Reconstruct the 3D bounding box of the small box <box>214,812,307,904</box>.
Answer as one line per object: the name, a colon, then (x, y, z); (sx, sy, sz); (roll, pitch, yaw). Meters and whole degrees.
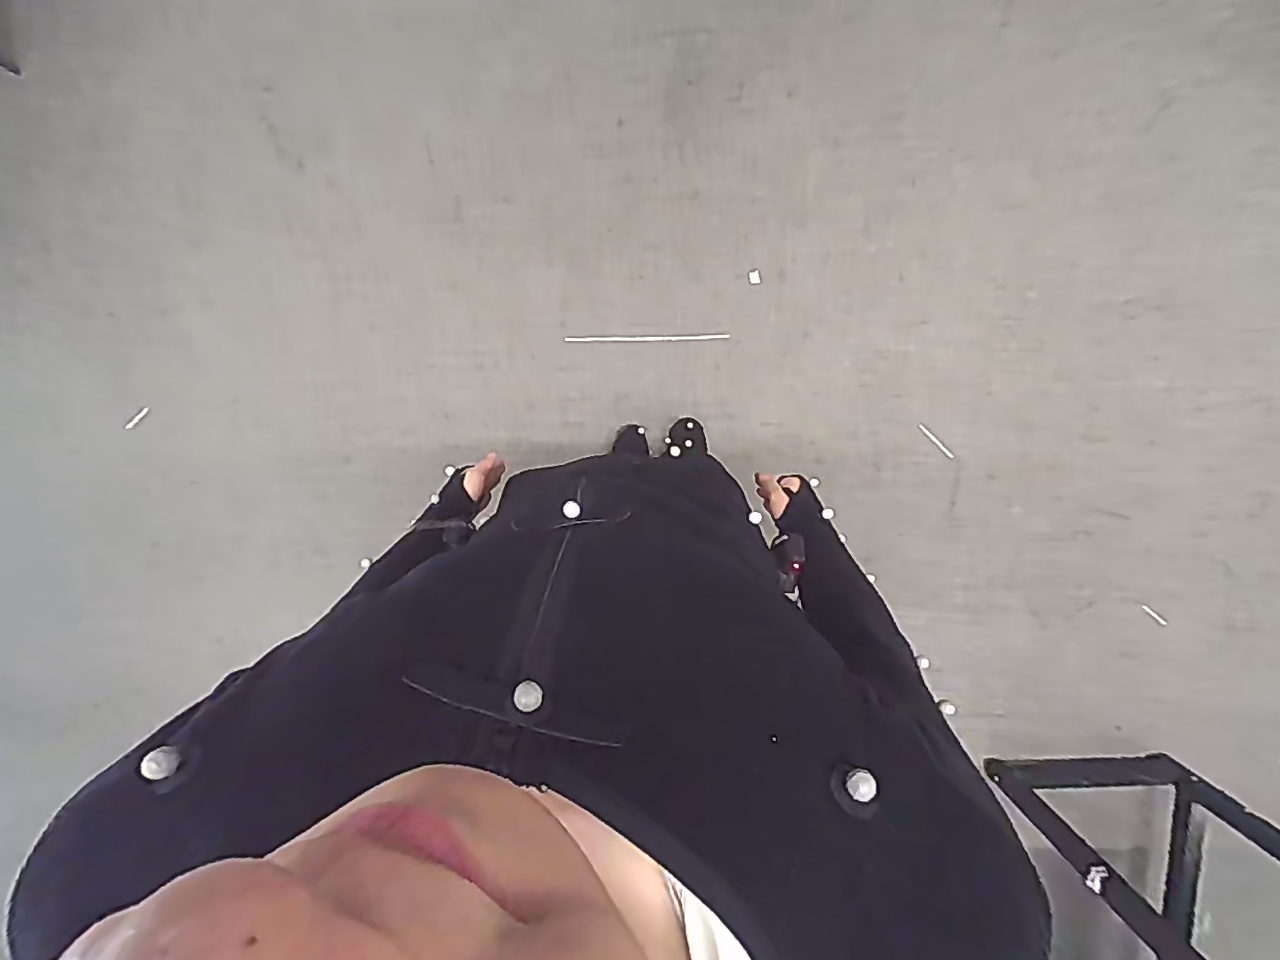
small box: (-1.154, 1.155, 1.660); (0.179, 0.176, 0.168); (2, 97, 1)
